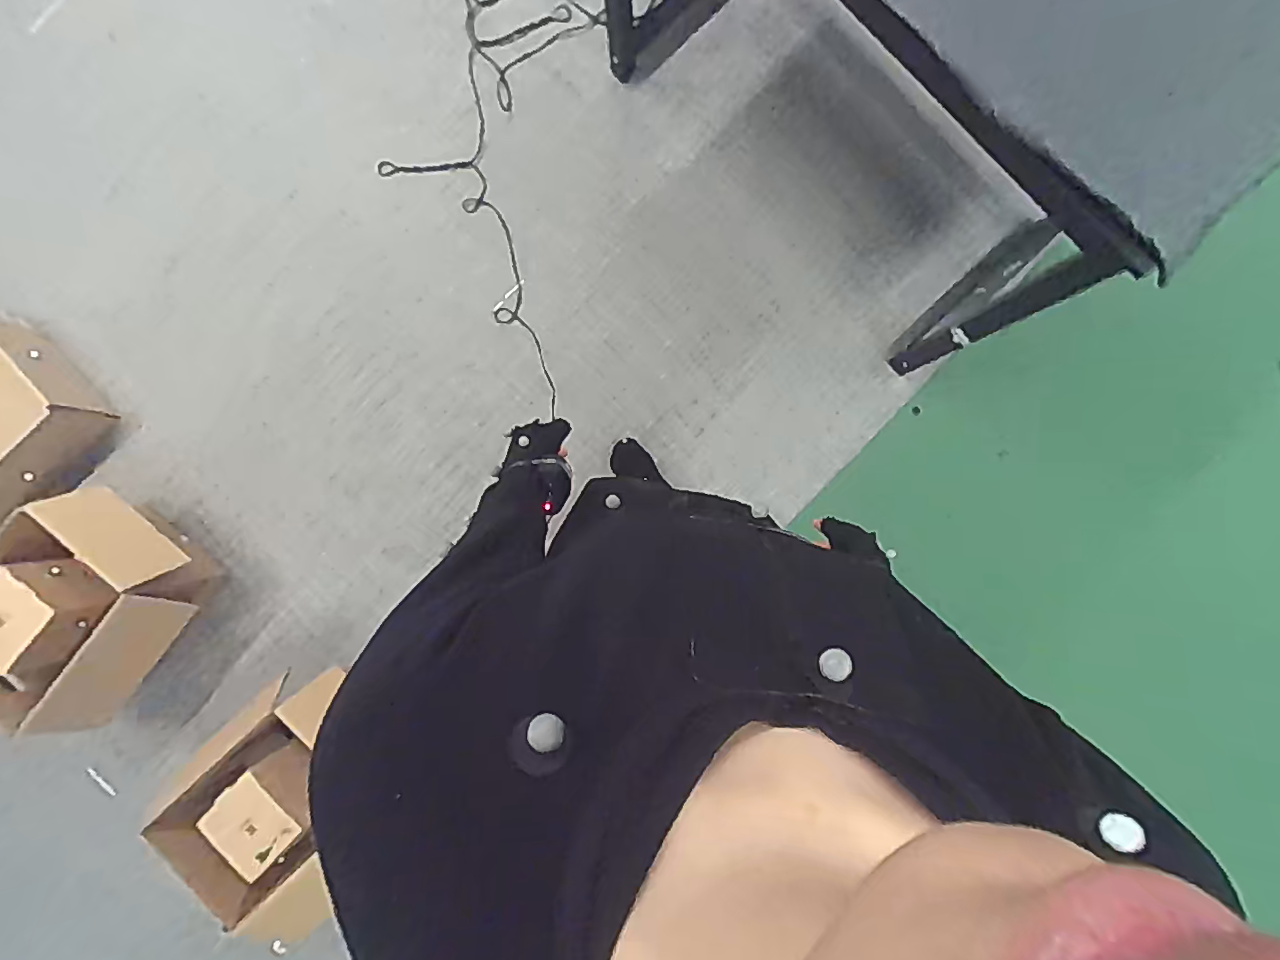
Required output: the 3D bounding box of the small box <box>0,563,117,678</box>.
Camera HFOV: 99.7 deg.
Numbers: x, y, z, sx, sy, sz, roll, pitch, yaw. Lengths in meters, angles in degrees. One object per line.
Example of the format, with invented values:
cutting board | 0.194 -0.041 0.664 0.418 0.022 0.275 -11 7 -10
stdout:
small box | -1.357 0.305 1.222 0.168 0.176 0.179 38 88 3
